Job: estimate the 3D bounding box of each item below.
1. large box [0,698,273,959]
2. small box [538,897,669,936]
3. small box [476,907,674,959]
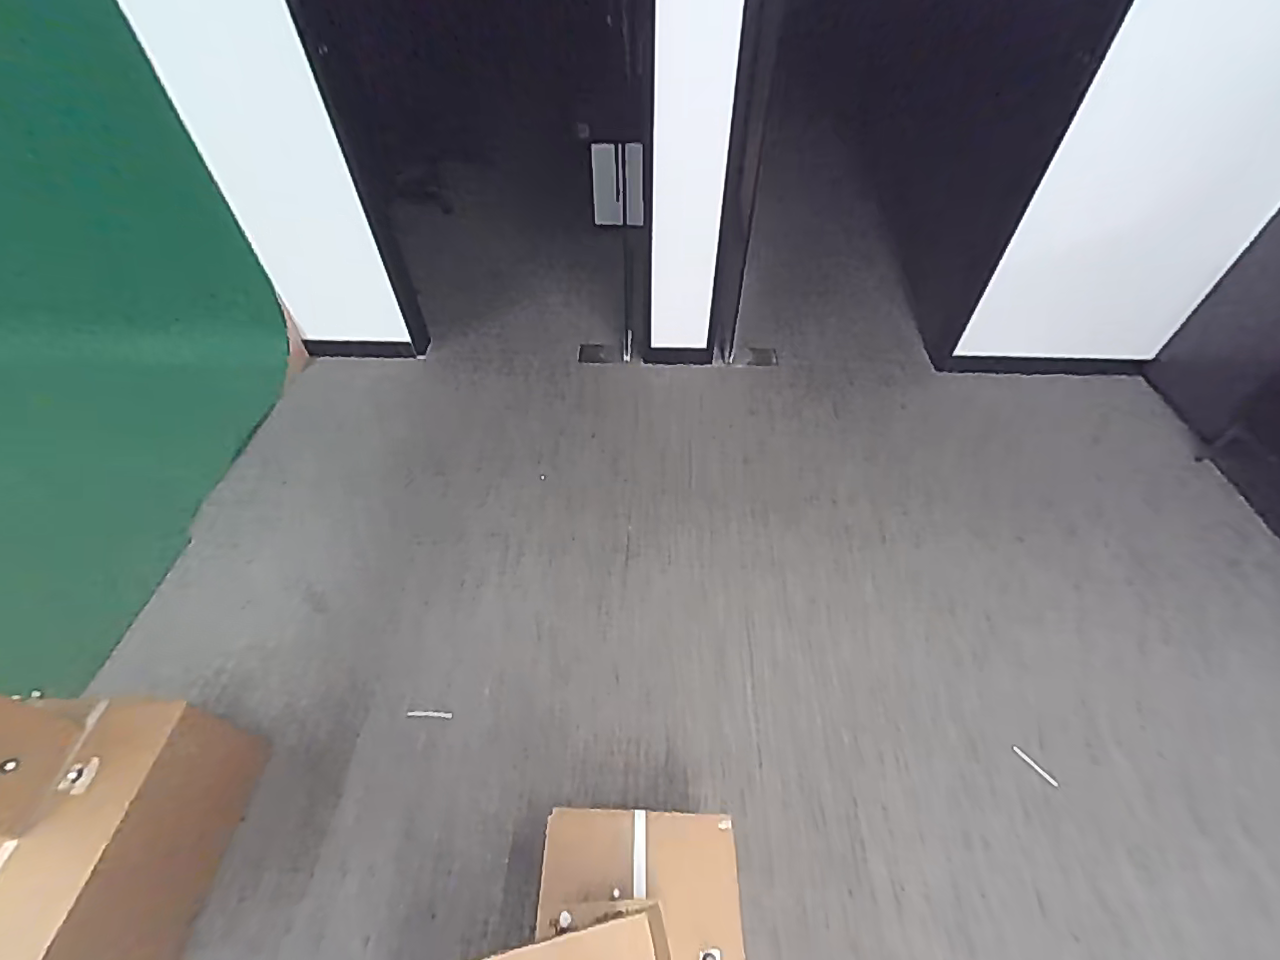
[{"bbox_3d":[-1.009,0.673,1.025,0.320,0.320,0.408,0,47,2],"label":"large box"},{"bbox_3d":[-0.042,0.661,0.705,0.168,0.176,0.179,-3,49,0],"label":"small box"},{"bbox_3d":[-0.048,0.482,0.453,0.179,0.176,0.168,-14,53,-3],"label":"small box"}]
